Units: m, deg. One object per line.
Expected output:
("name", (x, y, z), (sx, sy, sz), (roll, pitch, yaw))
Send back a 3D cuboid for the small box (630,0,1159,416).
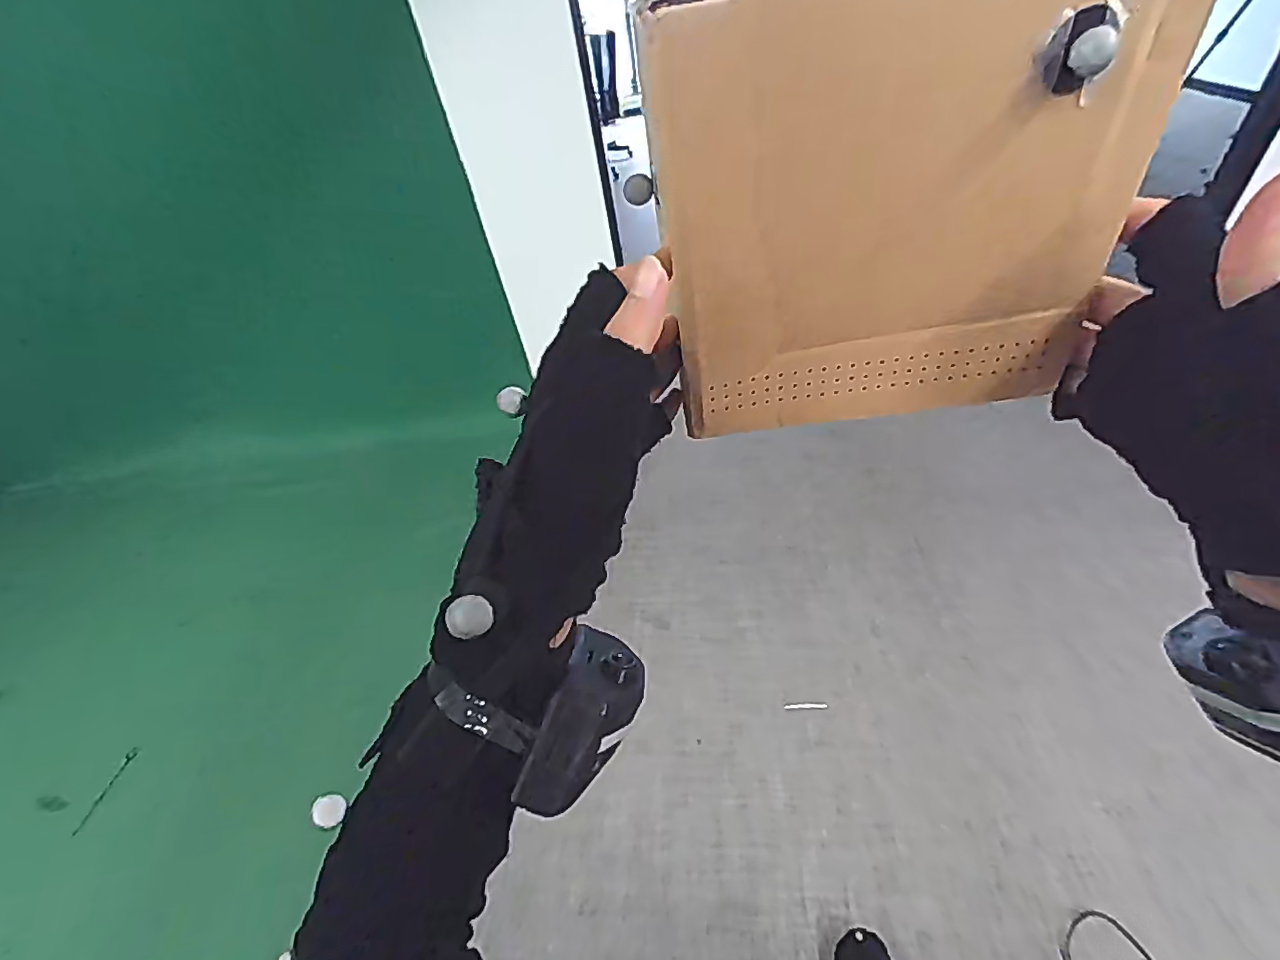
("small box", (0.094, -0.147, 0.275), (0.179, 0.176, 0.168), (-7, 41, 4))
